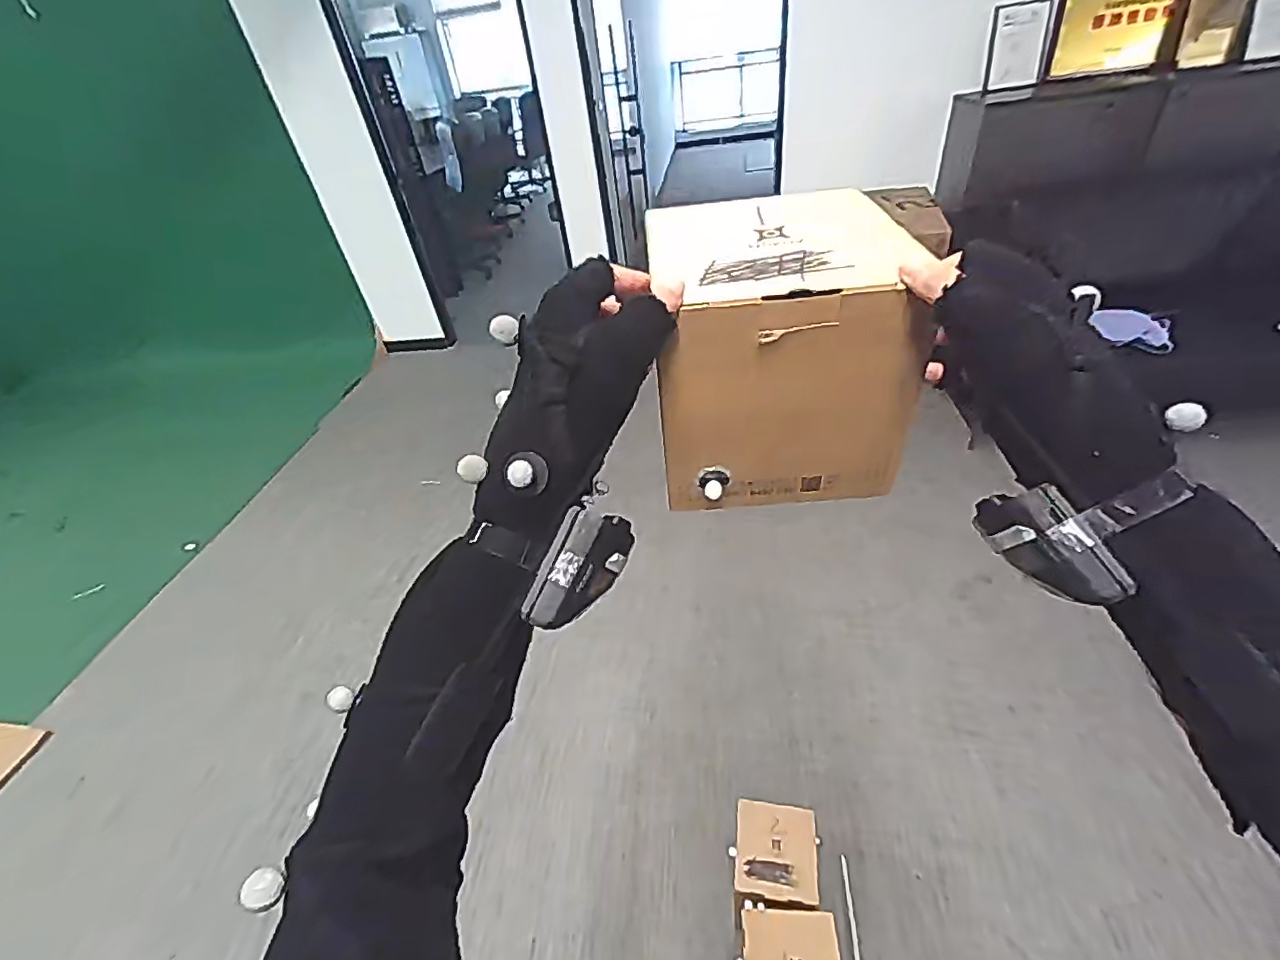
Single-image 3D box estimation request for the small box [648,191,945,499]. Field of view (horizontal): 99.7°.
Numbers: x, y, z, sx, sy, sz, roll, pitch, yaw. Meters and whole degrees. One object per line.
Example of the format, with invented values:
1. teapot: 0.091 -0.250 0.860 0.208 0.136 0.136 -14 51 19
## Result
1. small box: 0.096 -0.097 0.412 0.168 0.176 0.179 -4 42 4
